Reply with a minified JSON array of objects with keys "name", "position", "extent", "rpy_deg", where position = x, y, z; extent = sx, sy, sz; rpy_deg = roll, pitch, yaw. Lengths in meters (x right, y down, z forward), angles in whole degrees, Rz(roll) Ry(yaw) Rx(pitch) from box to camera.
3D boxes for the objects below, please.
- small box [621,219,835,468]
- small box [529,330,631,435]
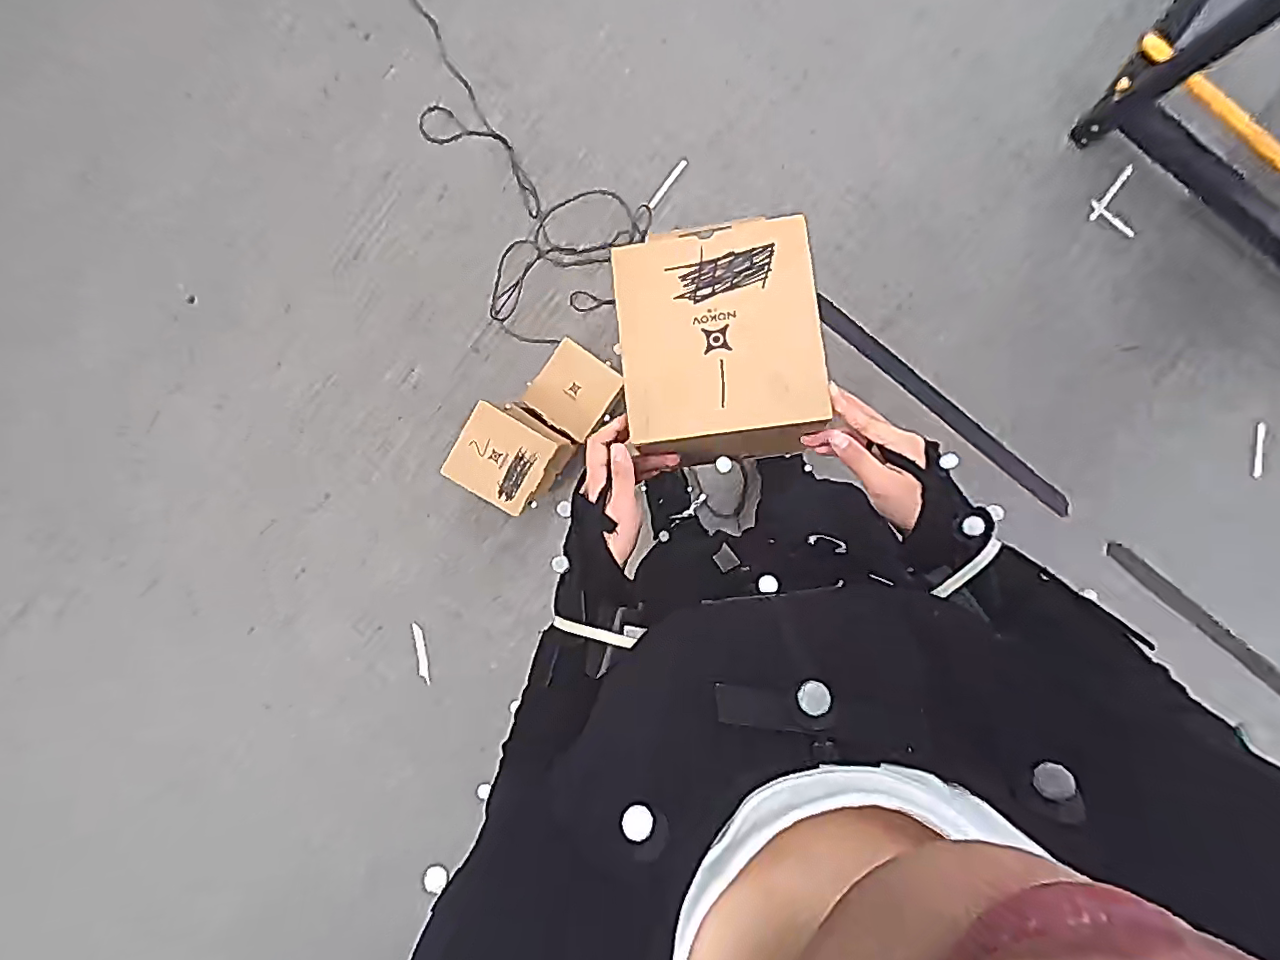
[{"name":"small box","position":[0.081,-0.115,0.526],"extent":[0.168,0.176,0.179],"rpy_deg":[-6,83,9]},{"name":"small box","position":[-0.128,-0.209,1.192],"extent":[0.168,0.176,0.179],"rpy_deg":[-30,105,-12]}]
